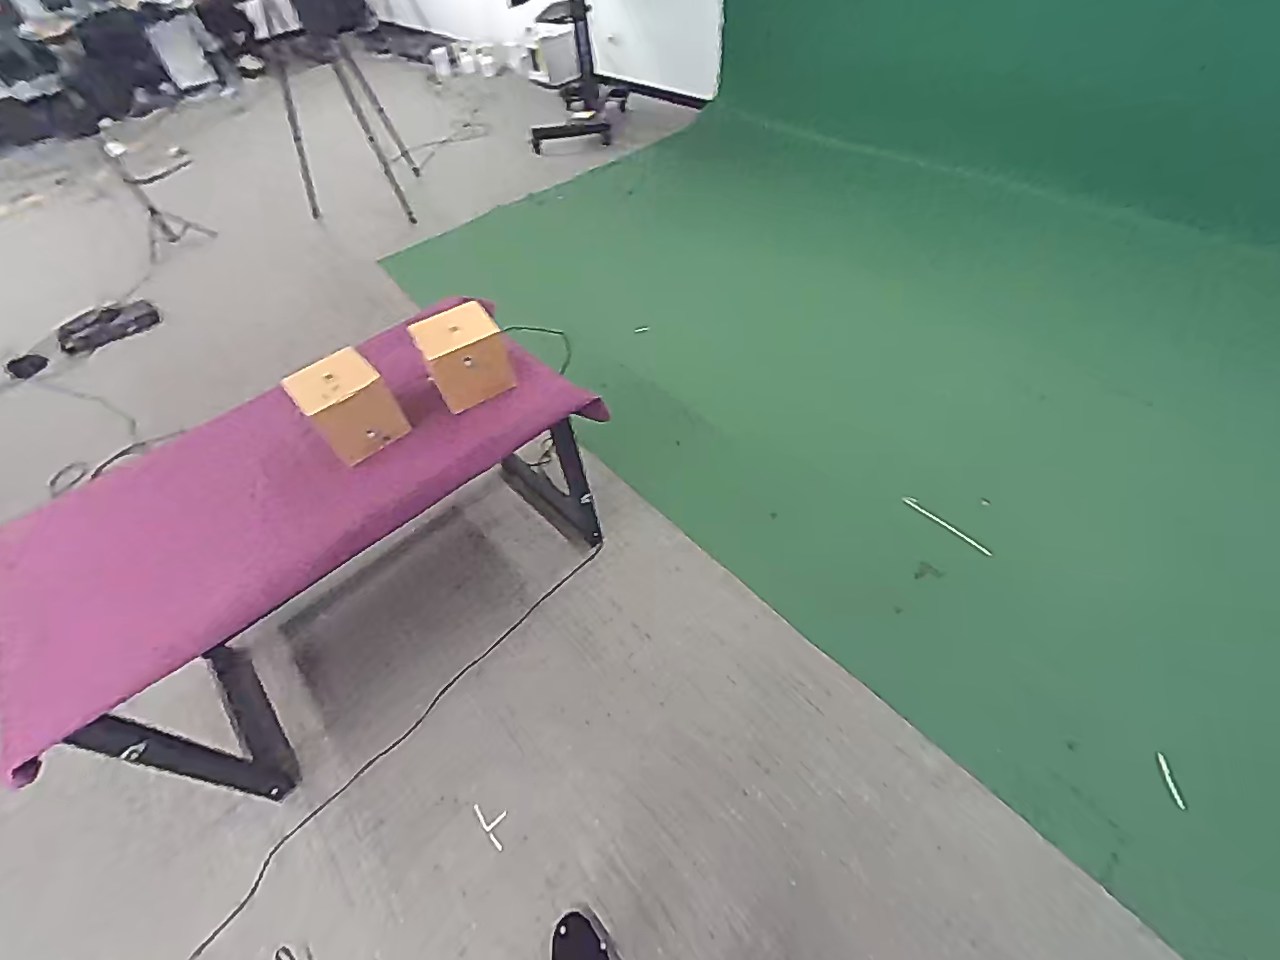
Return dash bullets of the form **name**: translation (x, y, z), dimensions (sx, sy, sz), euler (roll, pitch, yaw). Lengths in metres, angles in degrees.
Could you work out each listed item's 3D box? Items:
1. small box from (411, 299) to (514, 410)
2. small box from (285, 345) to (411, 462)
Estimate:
- **small box**: translation (-0.424, -0.305, 1.322), dimensions (0.179, 0.176, 0.168), euler (-29, 54, -15)
- **small box**: translation (-0.665, -0.174, 1.245), dimensions (0.168, 0.176, 0.179), euler (-38, 57, -21)
